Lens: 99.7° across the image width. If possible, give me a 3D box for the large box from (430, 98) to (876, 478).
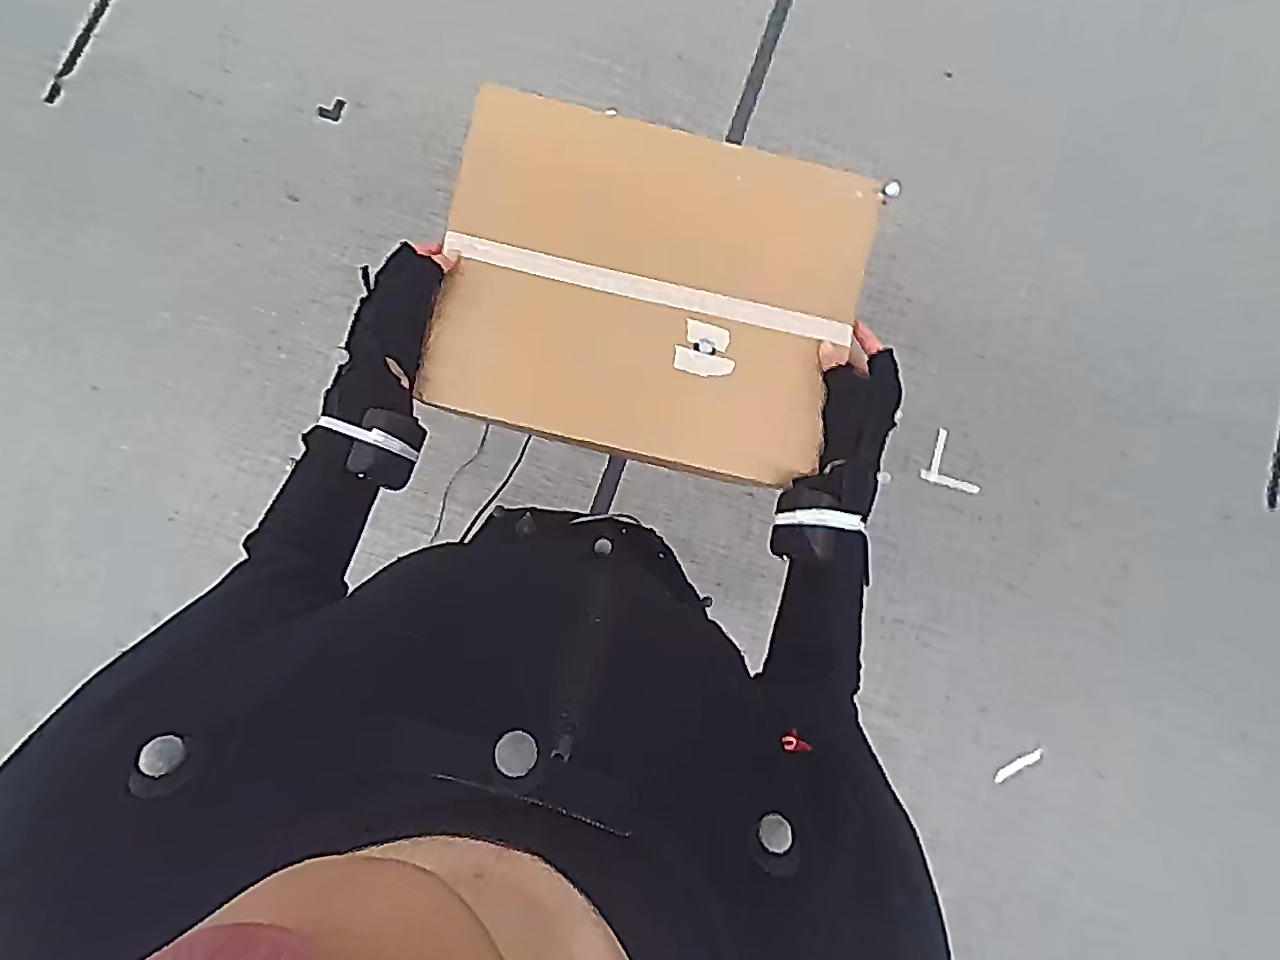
[{"bbox_3d":[0.009,-0.195,0.692,0.408,0.320,0.320,13,92,-1],"label":"large box"}]
